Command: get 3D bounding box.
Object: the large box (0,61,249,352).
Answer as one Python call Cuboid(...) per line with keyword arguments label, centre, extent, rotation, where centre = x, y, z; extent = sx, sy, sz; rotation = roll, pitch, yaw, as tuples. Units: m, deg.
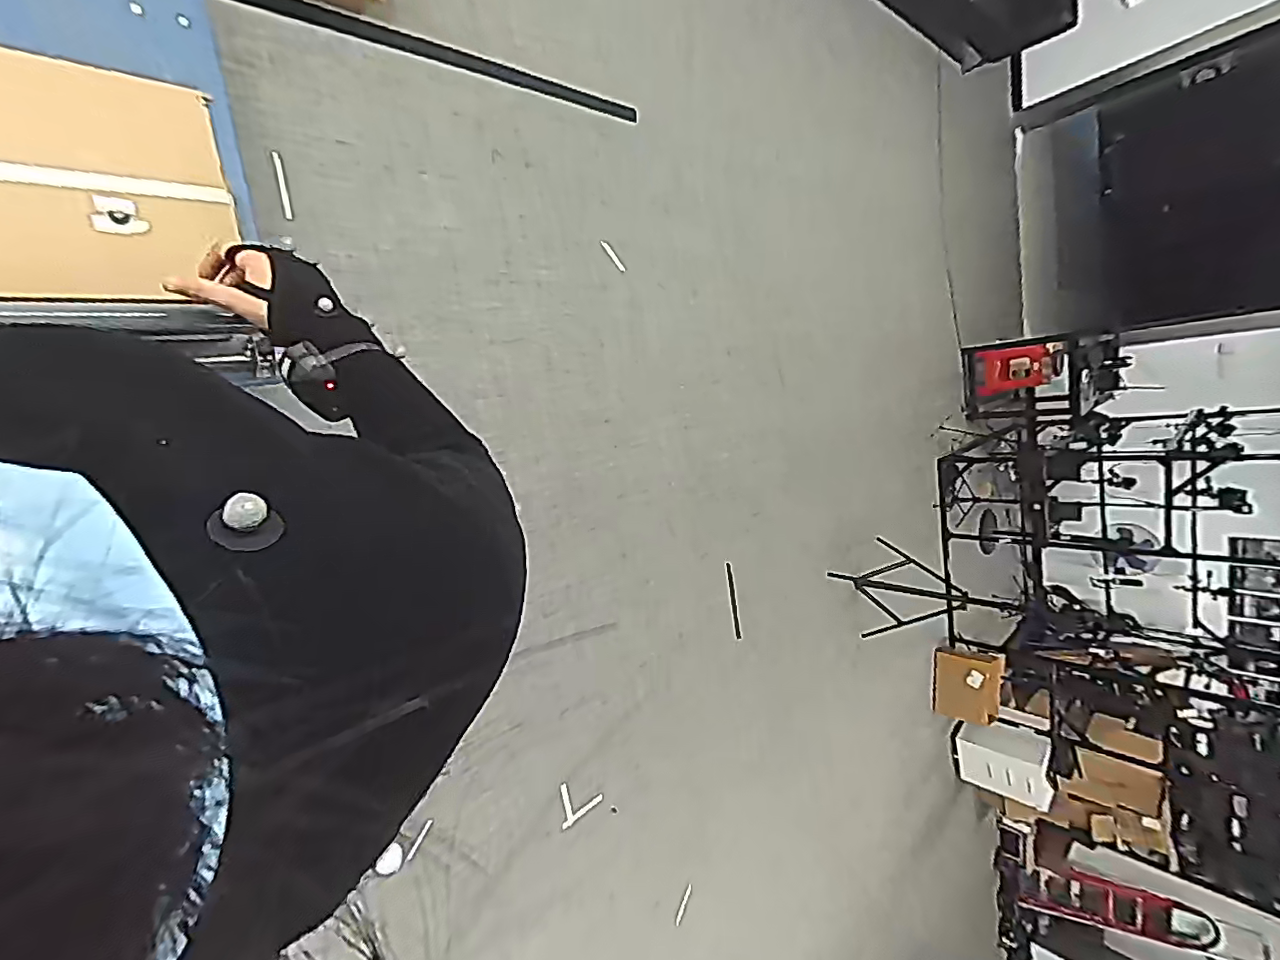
Cuboid(label="large box", centre=(-0.883, -0.376, 0.807), extent=(0.408, 0.320, 0.320), rotation=(-16, 101, -42))
